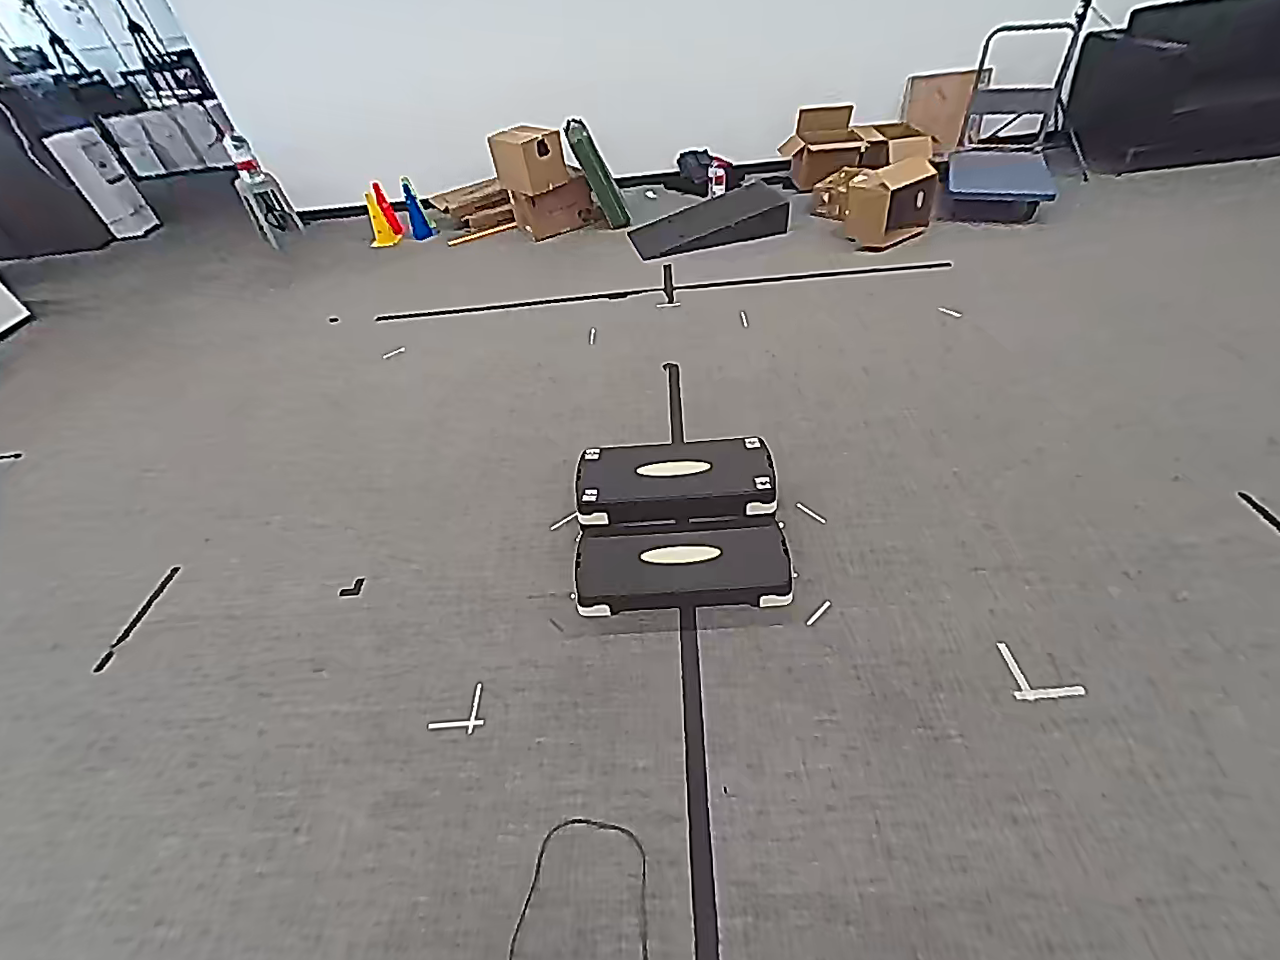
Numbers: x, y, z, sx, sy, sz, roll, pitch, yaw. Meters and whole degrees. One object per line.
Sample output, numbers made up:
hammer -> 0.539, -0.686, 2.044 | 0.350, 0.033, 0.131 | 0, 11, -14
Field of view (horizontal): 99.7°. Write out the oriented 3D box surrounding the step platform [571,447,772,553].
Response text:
step platform -> 0.104, 0.063, 1.875 | 0.684, 0.204, 0.286 | -4, 45, 2
